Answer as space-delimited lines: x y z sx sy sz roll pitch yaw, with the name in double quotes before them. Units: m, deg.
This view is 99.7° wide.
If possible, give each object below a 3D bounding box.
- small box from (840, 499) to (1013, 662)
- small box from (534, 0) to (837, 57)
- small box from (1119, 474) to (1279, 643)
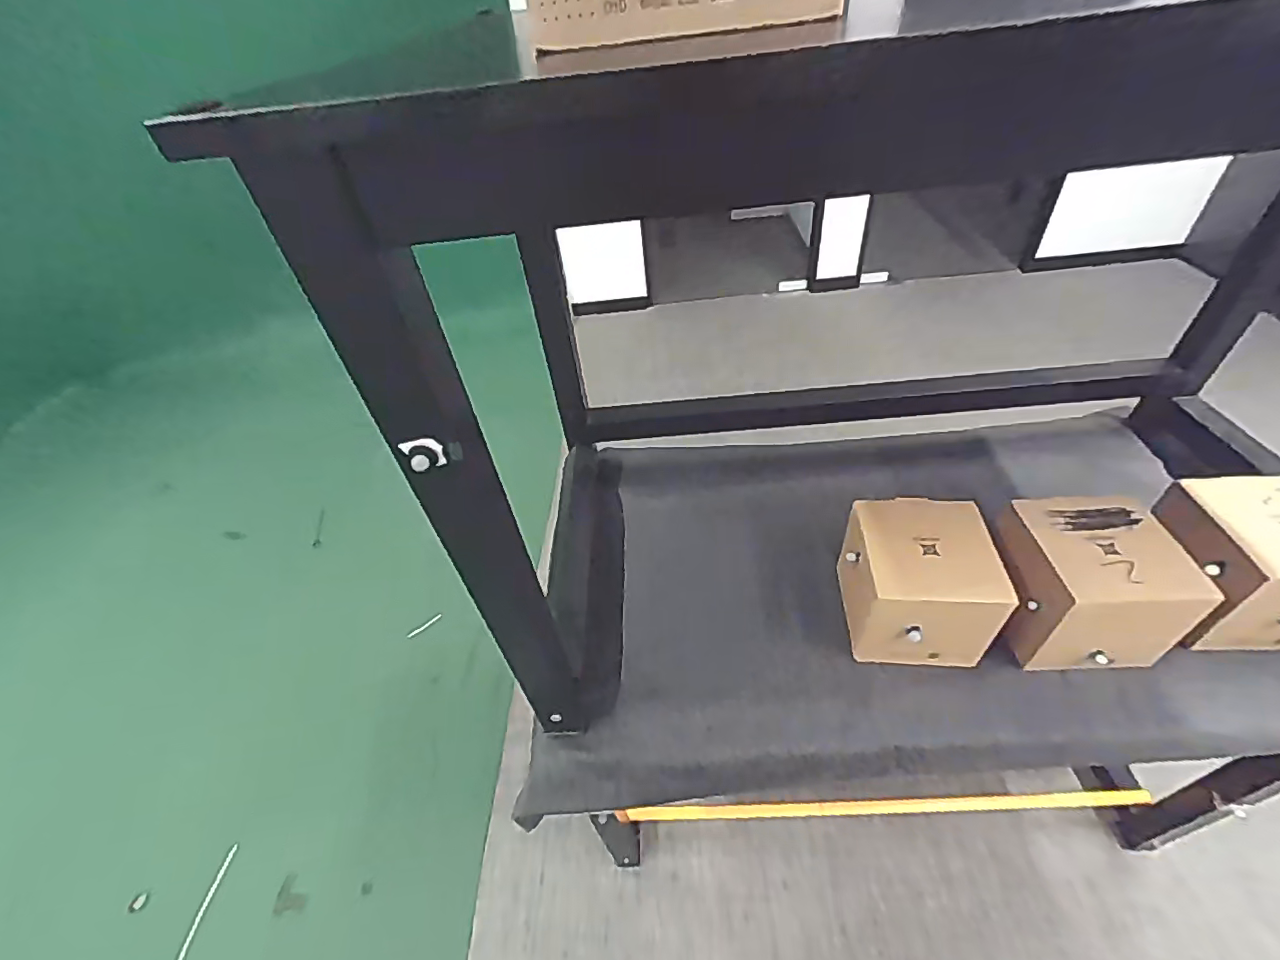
"small box" 0.396 0.146 0.785 0.168 0.176 0.179 0 44 9
"small box" 0.018 -0.349 0.295 0.168 0.176 0.179 -4 45 5
"small box" 0.835 0.113 0.750 0.168 0.176 0.179 -2 43 6
